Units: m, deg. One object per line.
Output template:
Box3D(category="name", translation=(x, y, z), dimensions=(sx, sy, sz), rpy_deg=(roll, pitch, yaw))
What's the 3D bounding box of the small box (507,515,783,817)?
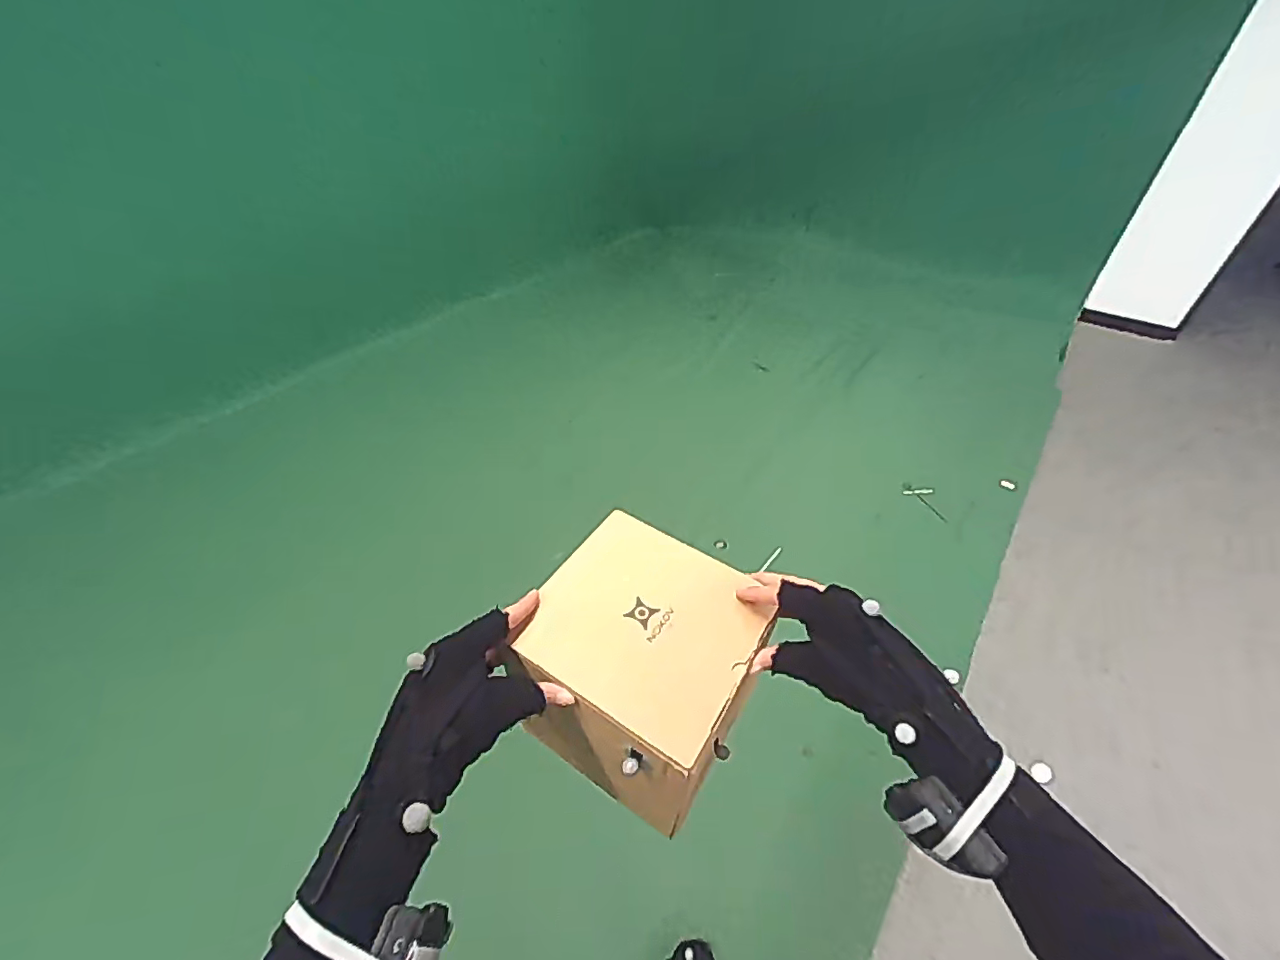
Box3D(category="small box", translation=(0.003, 0.170, 0.499), dimensions=(0.179, 0.176, 0.168), rpy_deg=(26, 48, 21))
